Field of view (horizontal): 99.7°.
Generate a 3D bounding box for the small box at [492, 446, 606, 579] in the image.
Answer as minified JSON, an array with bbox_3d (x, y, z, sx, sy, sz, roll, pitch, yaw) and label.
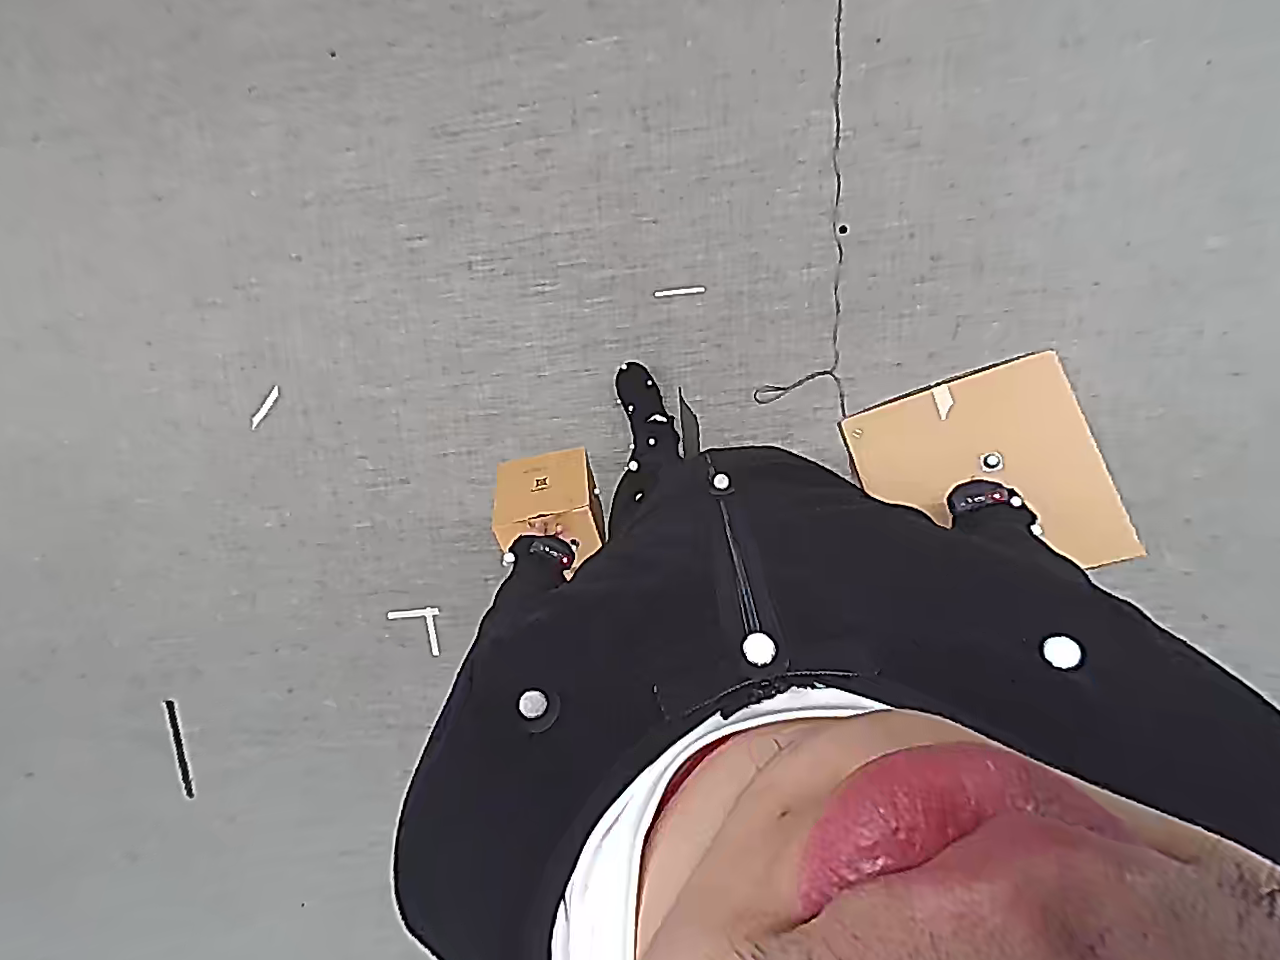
[{"bbox_3d":[-0.163,0.066,1.008,0.168,0.179,0.176,-12,128,0],"label":"small box"}]
